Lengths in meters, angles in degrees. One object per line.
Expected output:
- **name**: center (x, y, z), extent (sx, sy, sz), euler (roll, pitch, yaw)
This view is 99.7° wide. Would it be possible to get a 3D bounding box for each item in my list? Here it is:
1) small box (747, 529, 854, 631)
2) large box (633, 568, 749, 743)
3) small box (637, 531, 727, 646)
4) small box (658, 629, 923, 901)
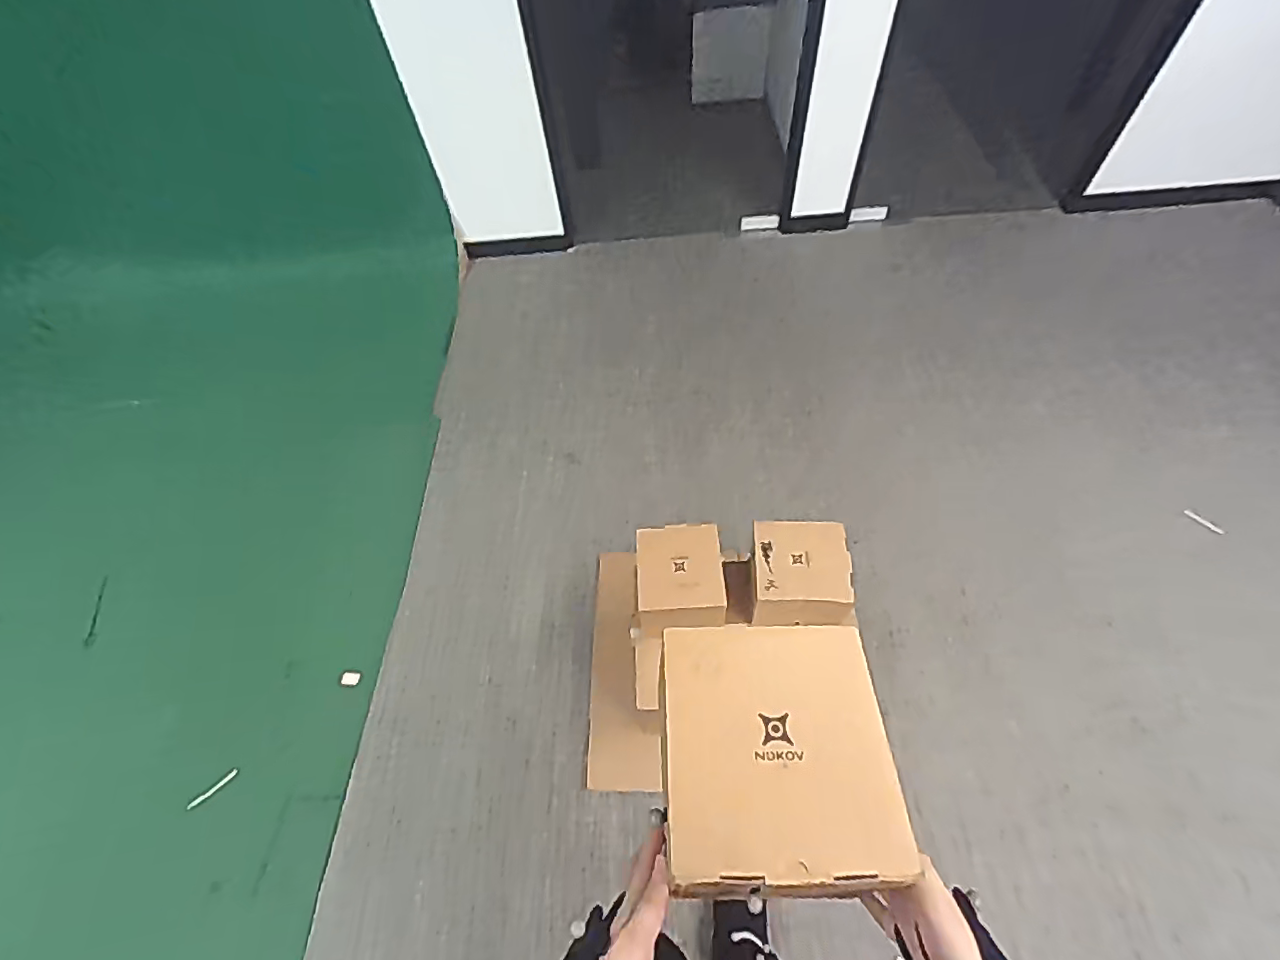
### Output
- **small box**: center (0.312, 0.212, 1.085), extent (0.179, 0.176, 0.168), euler (1, 56, 6)
- **large box**: center (0.194, 0.413, 1.257), extent (0.408, 0.320, 0.320), euler (-2, 56, 2)
- **small box**: center (0.081, 0.223, 1.101), extent (0.168, 0.176, 0.179), euler (-4, 55, 2)
- **small box**: center (0.102, 0.245, 0.464), extent (0.168, 0.176, 0.179), euler (-1, 50, 0)
